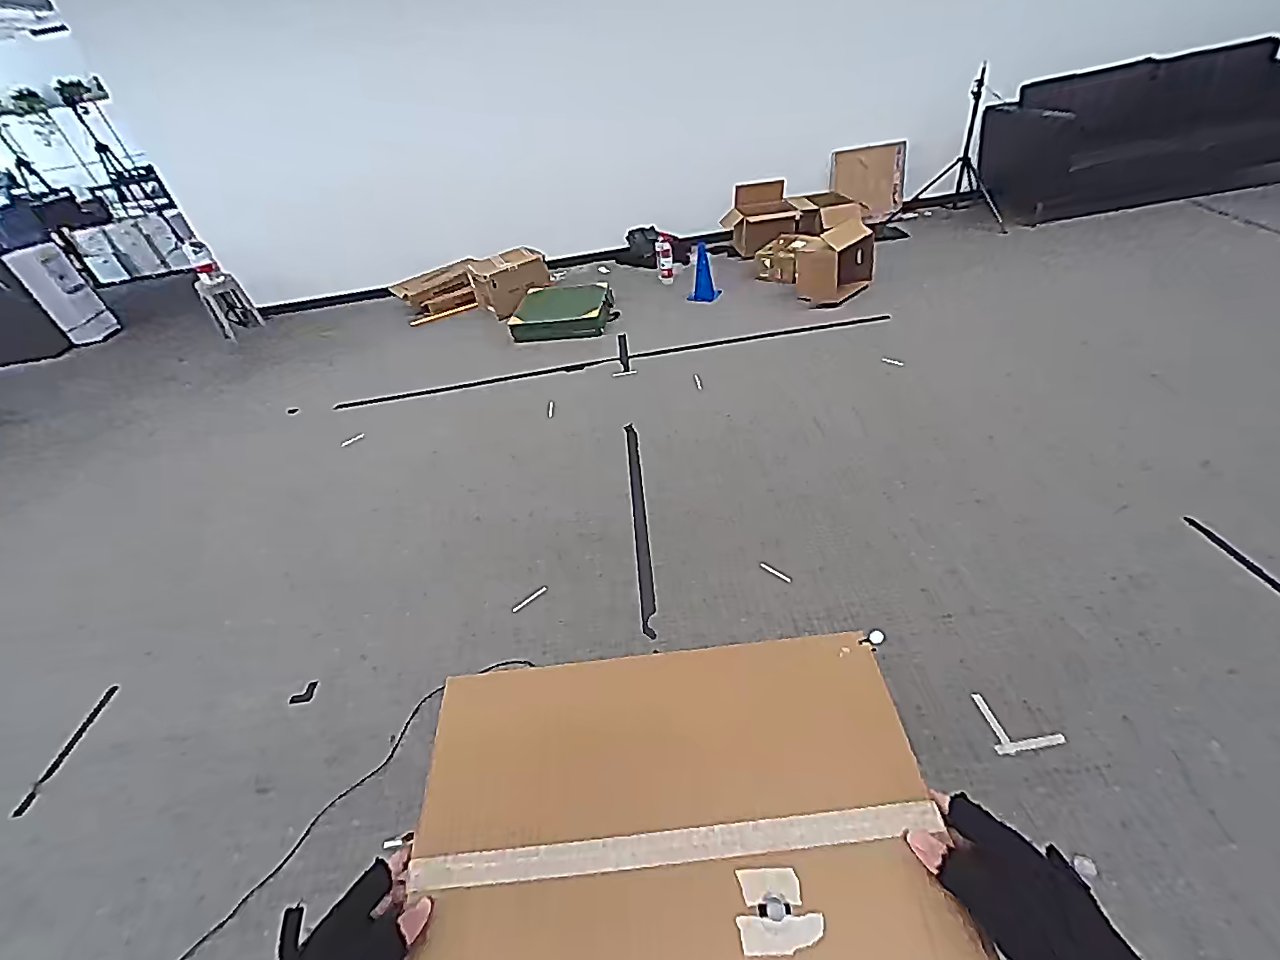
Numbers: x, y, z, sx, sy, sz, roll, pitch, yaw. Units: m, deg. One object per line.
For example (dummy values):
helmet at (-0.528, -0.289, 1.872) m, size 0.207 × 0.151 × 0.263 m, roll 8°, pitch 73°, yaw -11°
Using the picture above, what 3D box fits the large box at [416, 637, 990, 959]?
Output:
large box at (0.042, 0.389, 0.527) m, size 0.408 × 0.320 × 0.320 m, roll -7°, pitch 46°, yaw 0°
